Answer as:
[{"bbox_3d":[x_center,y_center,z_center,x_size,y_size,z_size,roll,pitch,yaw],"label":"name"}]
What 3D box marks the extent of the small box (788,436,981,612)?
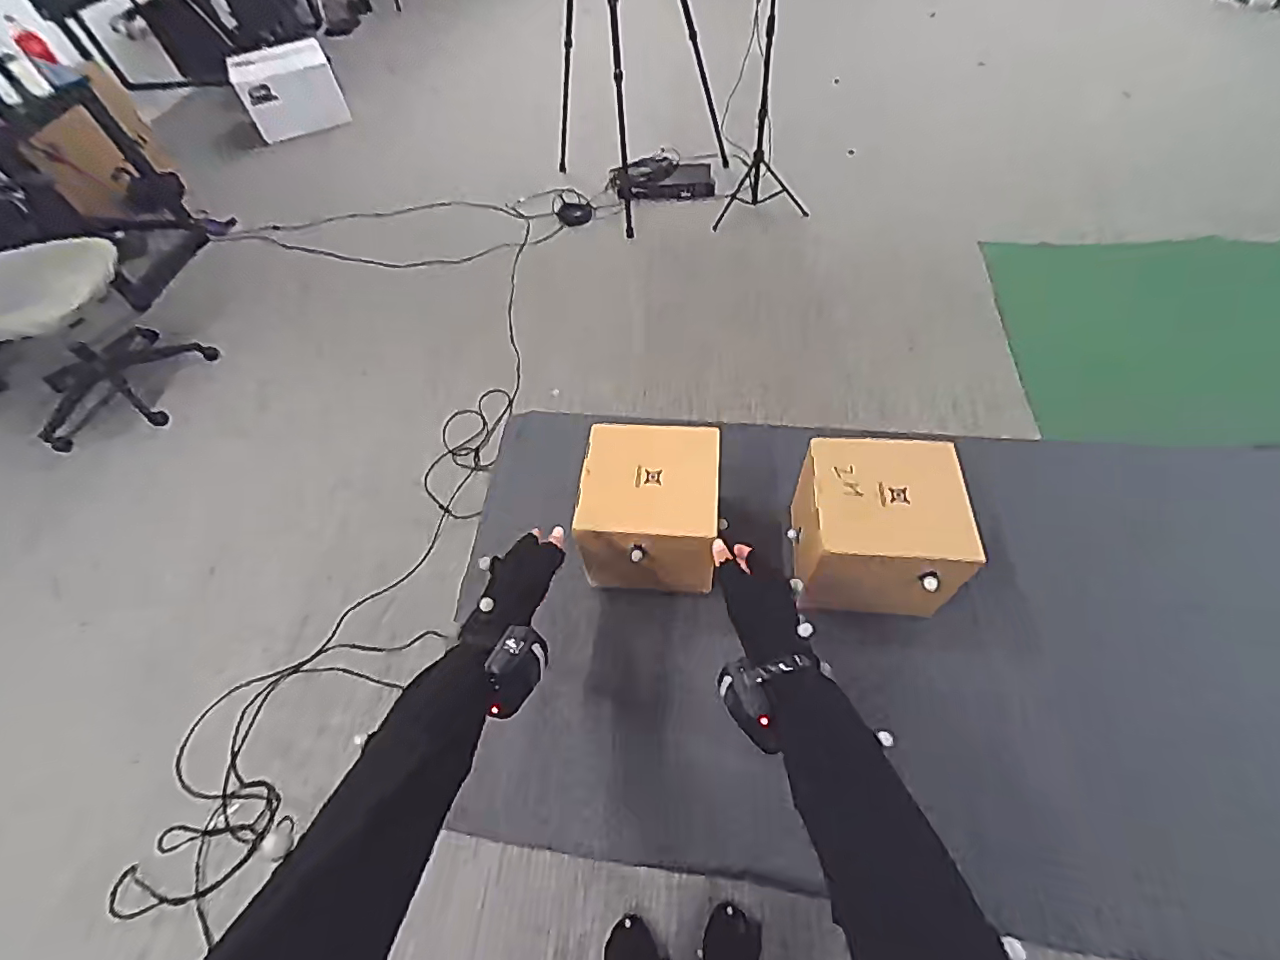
[{"bbox_3d":[0.296,0.062,0.699,0.179,0.176,0.168,2,55,7],"label":"small box"}]
